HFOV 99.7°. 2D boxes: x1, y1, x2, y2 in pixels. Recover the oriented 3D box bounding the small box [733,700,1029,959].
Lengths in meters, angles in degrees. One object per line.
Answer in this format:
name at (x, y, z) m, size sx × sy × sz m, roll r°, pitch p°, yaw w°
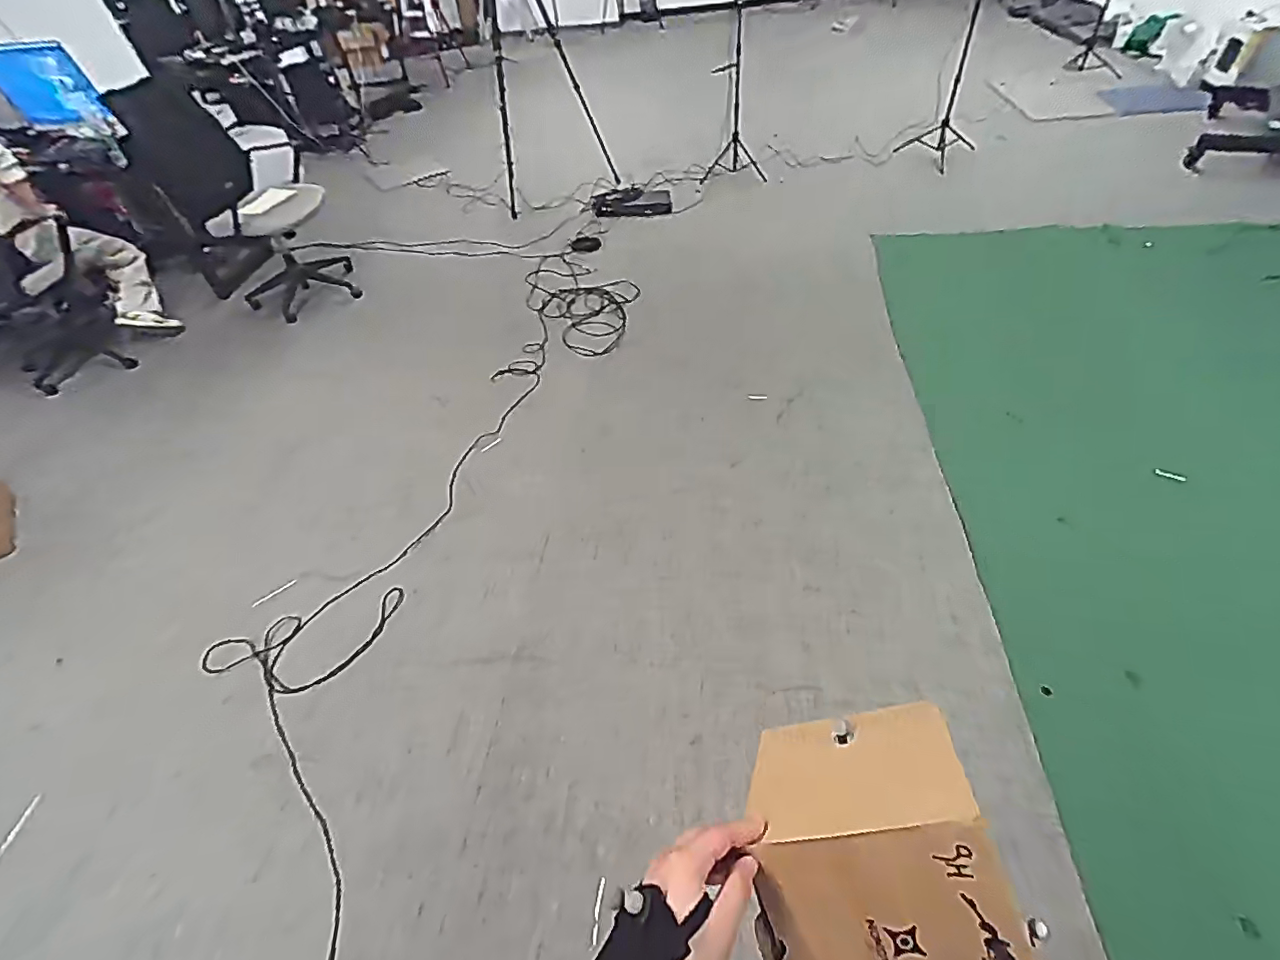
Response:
small box at (0.201, 0.315, 0.462) m, size 0.179 × 0.176 × 0.168 m, roll -21°, pitch 90°, yaw 20°
